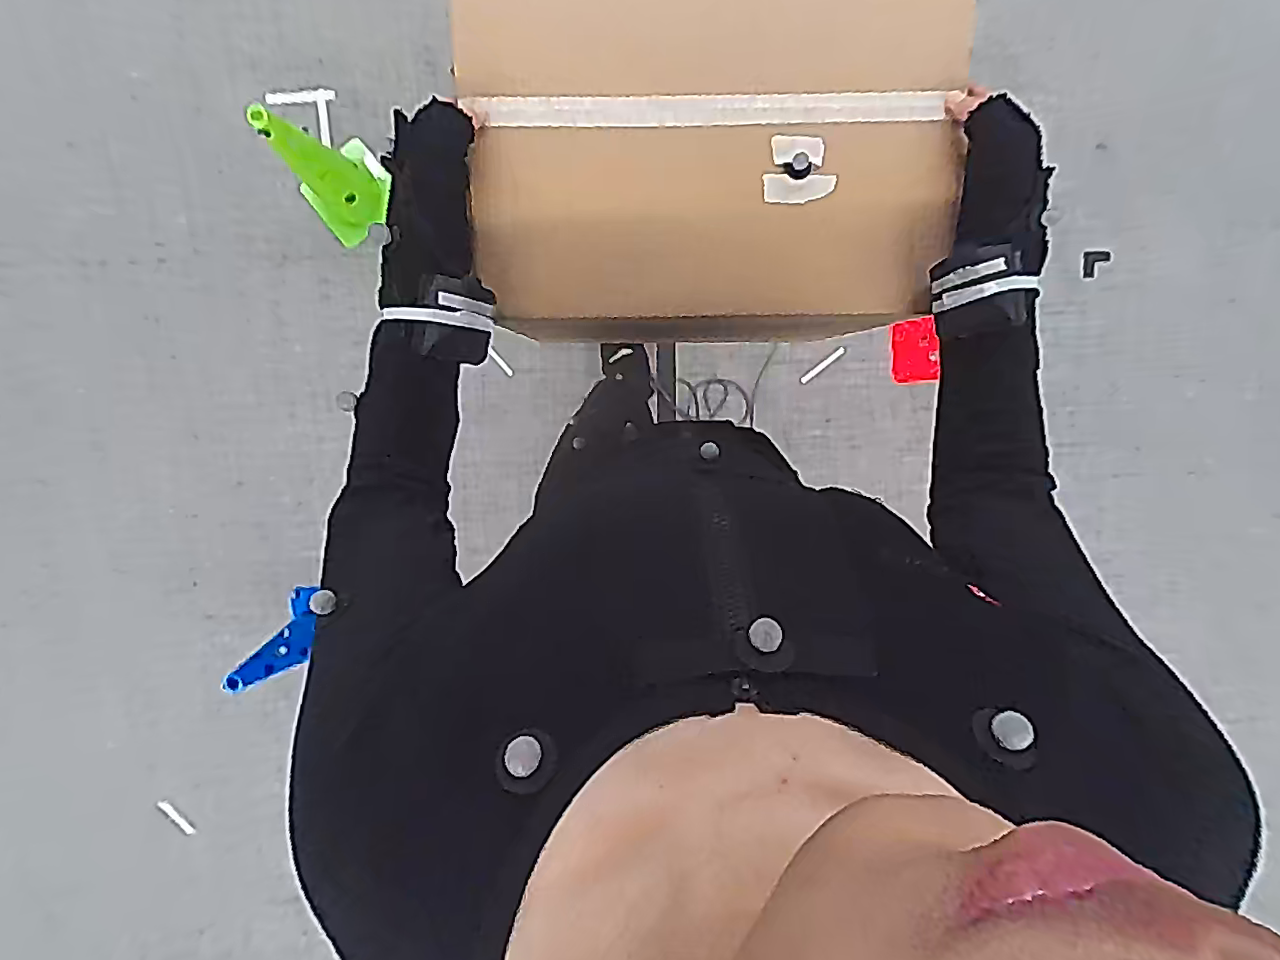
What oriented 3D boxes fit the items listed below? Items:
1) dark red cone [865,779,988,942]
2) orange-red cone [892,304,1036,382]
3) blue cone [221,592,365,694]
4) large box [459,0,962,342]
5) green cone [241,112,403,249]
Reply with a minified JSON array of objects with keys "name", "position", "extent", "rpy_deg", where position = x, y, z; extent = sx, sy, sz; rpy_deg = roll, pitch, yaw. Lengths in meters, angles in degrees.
[{"name":"dark red cone","position":[0.731,0.949,1.347],"extent":[0.201,0.394,0.202],"rpy_deg":[4,95,0]},{"name":"orange-red cone","position":[0.764,-0.347,1.249],"extent":[0.198,0.360,0.199],"rpy_deg":[-4,94,-1]},{"name":"blue cone","position":[-0.852,0.417,1.320],"extent":[0.192,0.380,0.193],"rpy_deg":[2,95,0]},{"name":"large box","position":[0.054,-0.327,0.585],"extent":[0.408,0.320,0.320],"rpy_deg":[-1,100,-2]},{"name":"green cone","position":[-0.731,-0.702,1.198],"extent":[0.202,0.368,0.200],"rpy_deg":[-39,94,5]}]
